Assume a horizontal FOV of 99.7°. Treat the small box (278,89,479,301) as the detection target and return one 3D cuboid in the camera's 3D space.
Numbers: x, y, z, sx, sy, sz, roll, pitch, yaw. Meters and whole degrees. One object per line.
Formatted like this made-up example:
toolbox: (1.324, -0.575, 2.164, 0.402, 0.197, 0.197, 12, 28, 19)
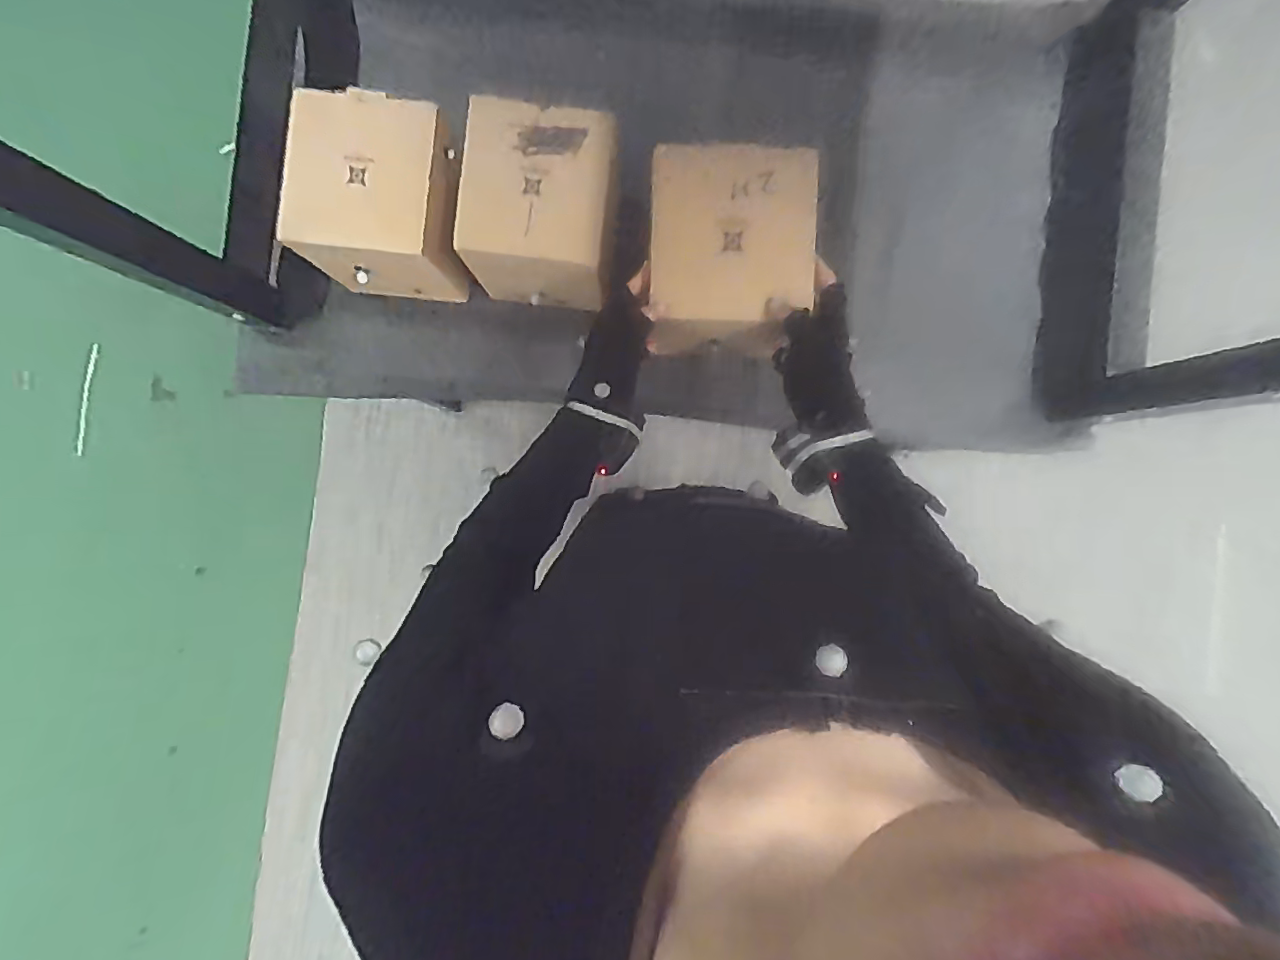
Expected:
small box: (-0.313, -0.341, 0.681, 0.168, 0.176, 0.179, 6, 88, -1)
